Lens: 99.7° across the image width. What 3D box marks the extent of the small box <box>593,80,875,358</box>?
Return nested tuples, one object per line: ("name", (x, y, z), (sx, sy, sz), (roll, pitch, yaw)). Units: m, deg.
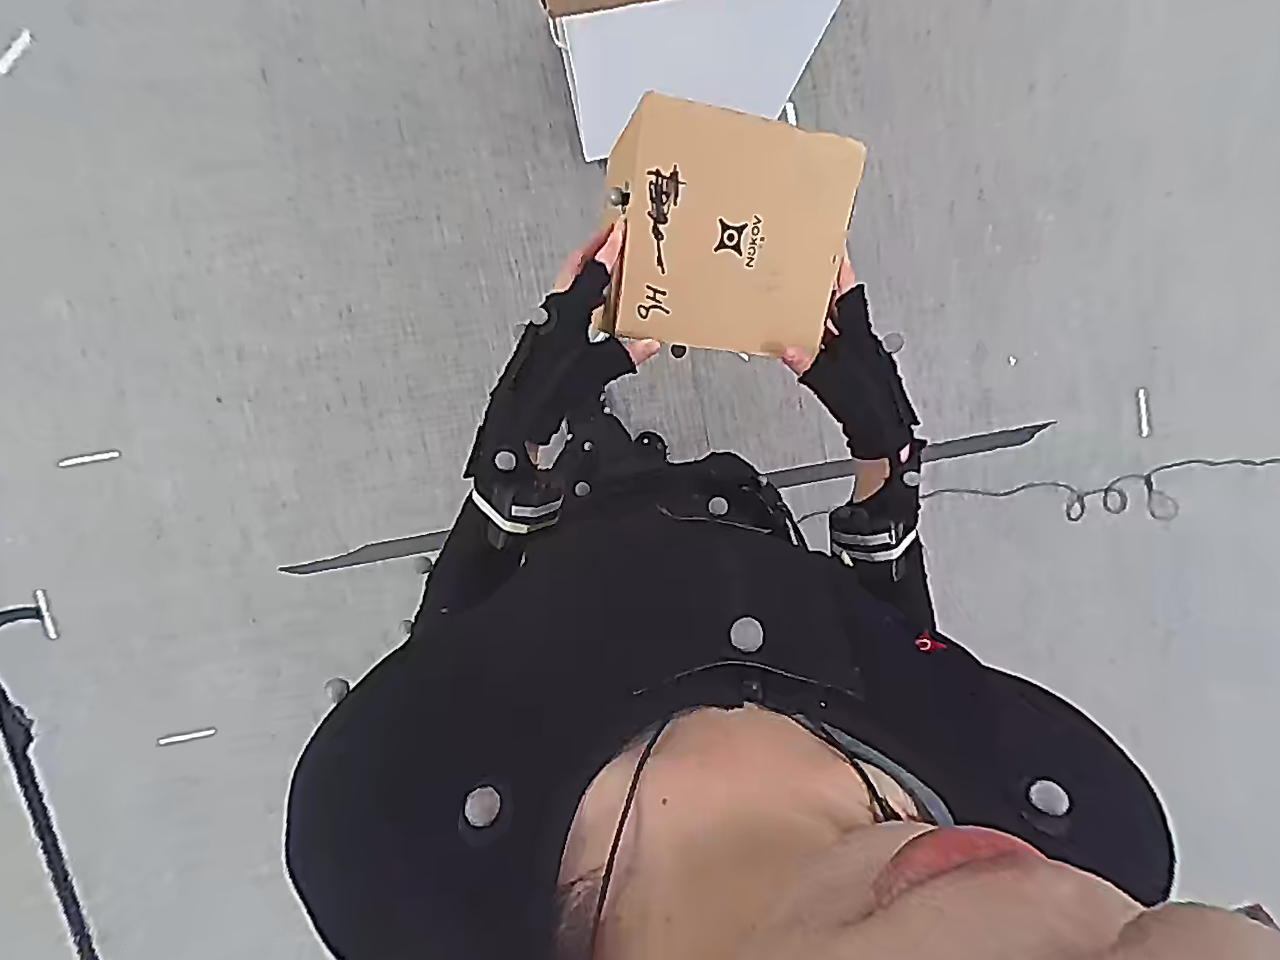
("small box", (0.065, -0.210, 0.481), (0.179, 0.176, 0.168), (5, 106, -15))
